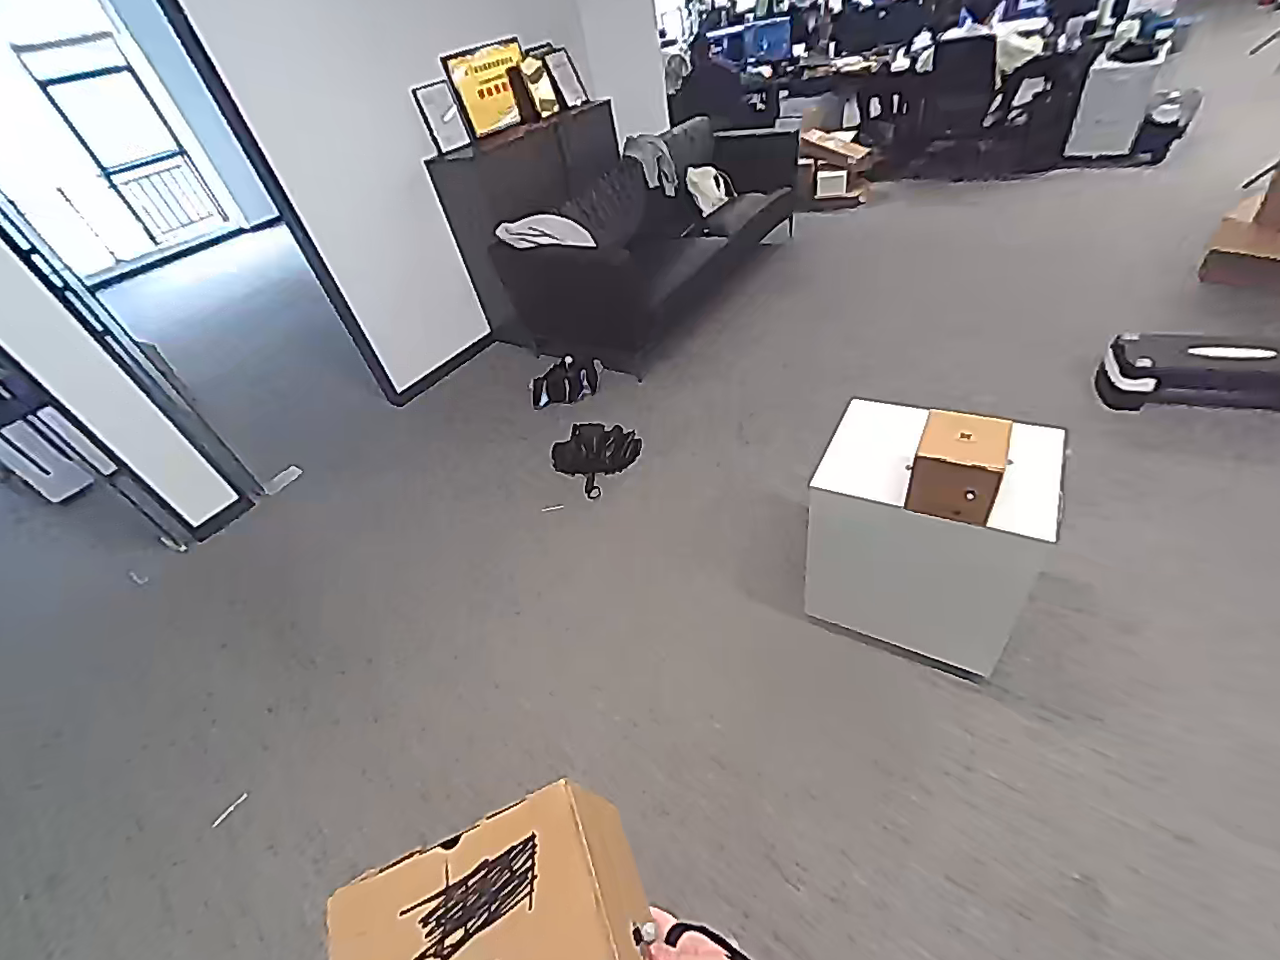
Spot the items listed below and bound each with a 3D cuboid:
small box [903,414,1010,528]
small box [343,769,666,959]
[{"bbox_3d":[0.698,-0.021,1.203,0.168,0.176,0.179,15,46,27],"label":"small box"},{"bbox_3d":[-0.078,0.337,0.375,0.168,0.176,0.179,-23,52,-6],"label":"small box"}]
